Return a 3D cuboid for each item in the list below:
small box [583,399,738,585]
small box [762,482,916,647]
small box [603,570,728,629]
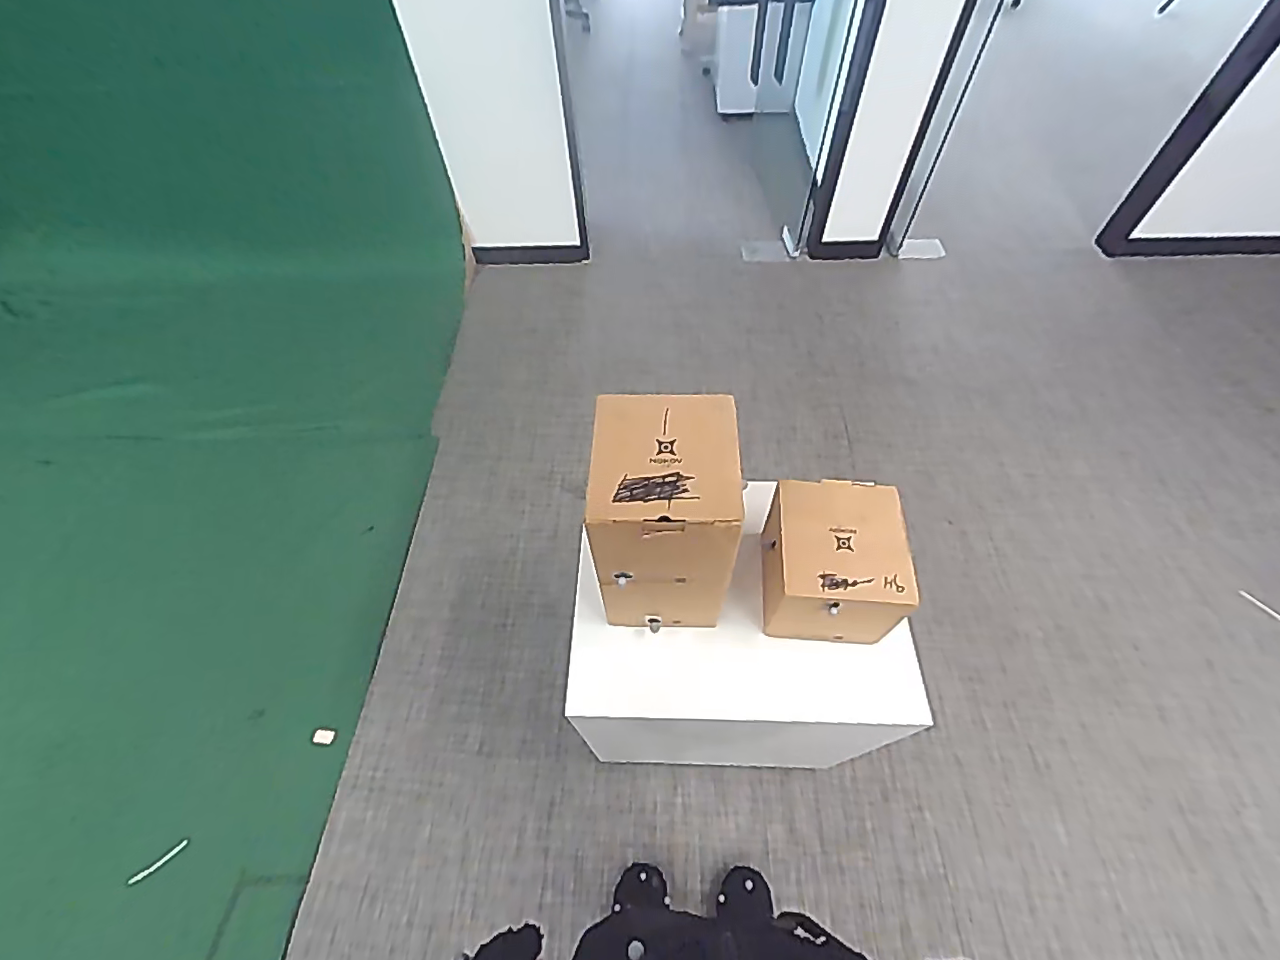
[{"bbox_3d":[0.030,0.020,0.671,0.168,0.176,0.179,1,56,3],"label":"small box"},{"bbox_3d":[0.272,0.124,0.787,0.168,0.176,0.179,4,56,5],"label":"small box"},{"bbox_3d":[0.037,0.111,0.808,0.168,0.176,0.179,-1,58,3],"label":"small box"}]
